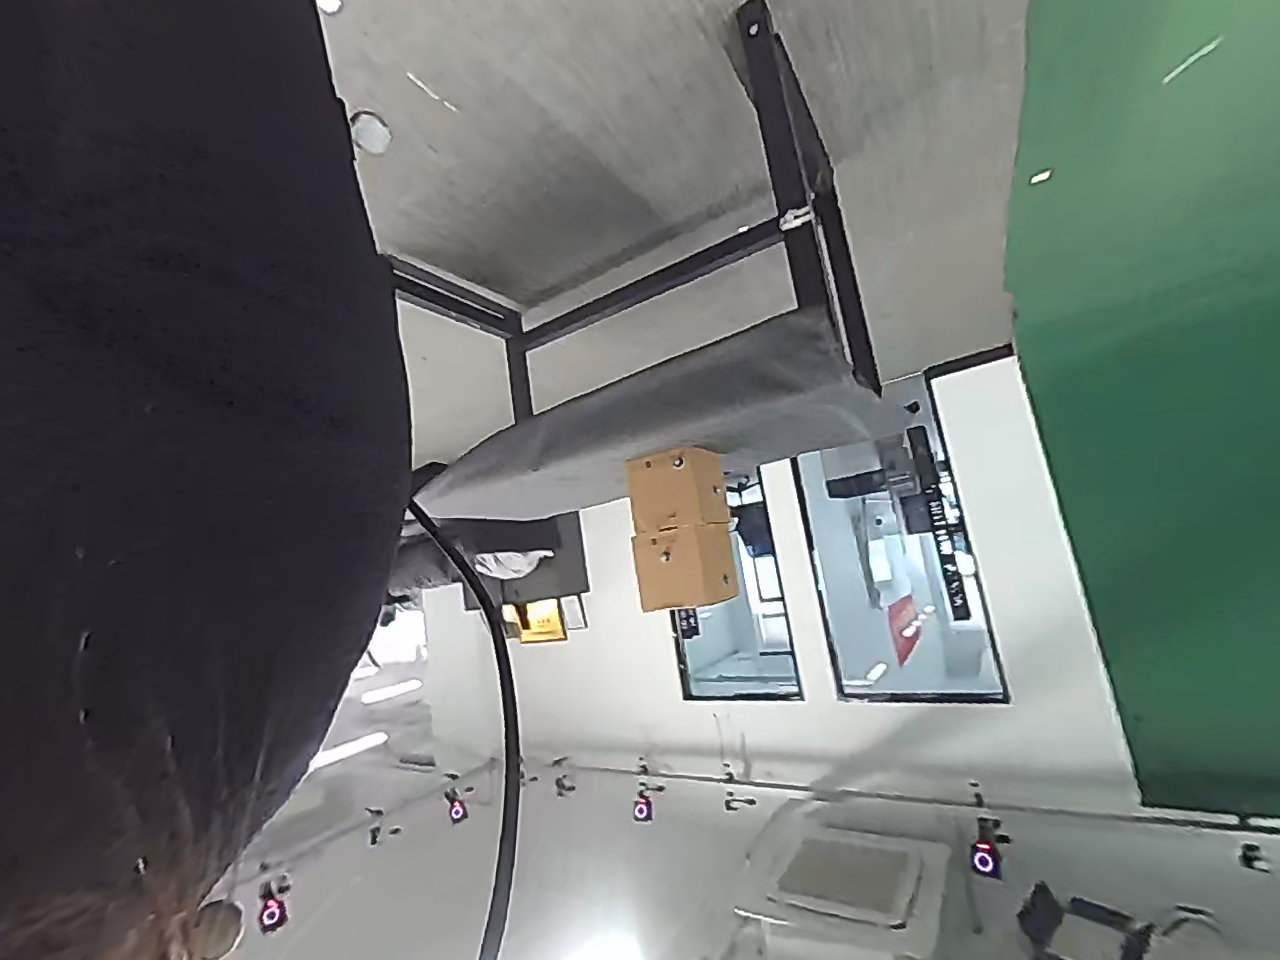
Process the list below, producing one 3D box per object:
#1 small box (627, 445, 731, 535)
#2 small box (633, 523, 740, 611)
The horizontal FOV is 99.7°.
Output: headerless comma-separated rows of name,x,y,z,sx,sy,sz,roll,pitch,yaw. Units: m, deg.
small box,0.087,0.024,1.217,0.168,0.176,0.179,-14,171,28
small box,0.105,0.188,1.206,0.168,0.176,0.179,-15,169,30
